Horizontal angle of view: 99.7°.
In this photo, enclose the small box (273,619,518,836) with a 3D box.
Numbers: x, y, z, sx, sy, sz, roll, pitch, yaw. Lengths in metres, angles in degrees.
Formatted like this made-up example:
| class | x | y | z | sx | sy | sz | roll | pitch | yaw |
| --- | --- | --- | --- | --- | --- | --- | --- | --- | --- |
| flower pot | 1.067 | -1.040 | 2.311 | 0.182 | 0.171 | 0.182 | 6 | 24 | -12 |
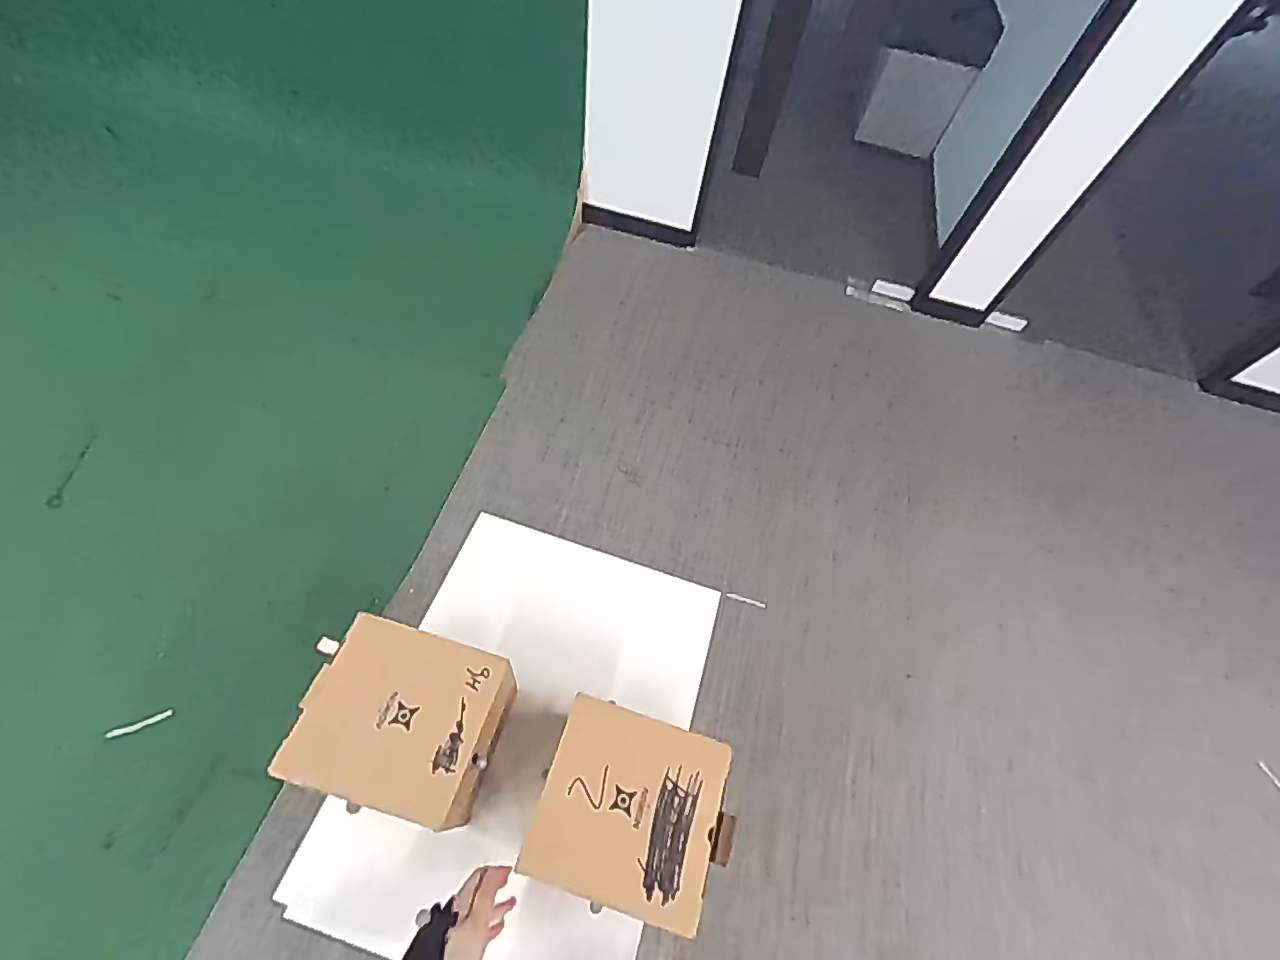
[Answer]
| class | x | y | z | sx | sy | sz | roll | pitch | yaw |
| --- | --- | --- | --- | --- | --- | --- | --- | --- | --- |
| small box | -0.253 | 0.284 | 0.613 | 0.179 | 0.176 | 0.168 | 17 | 58 | 2 |
